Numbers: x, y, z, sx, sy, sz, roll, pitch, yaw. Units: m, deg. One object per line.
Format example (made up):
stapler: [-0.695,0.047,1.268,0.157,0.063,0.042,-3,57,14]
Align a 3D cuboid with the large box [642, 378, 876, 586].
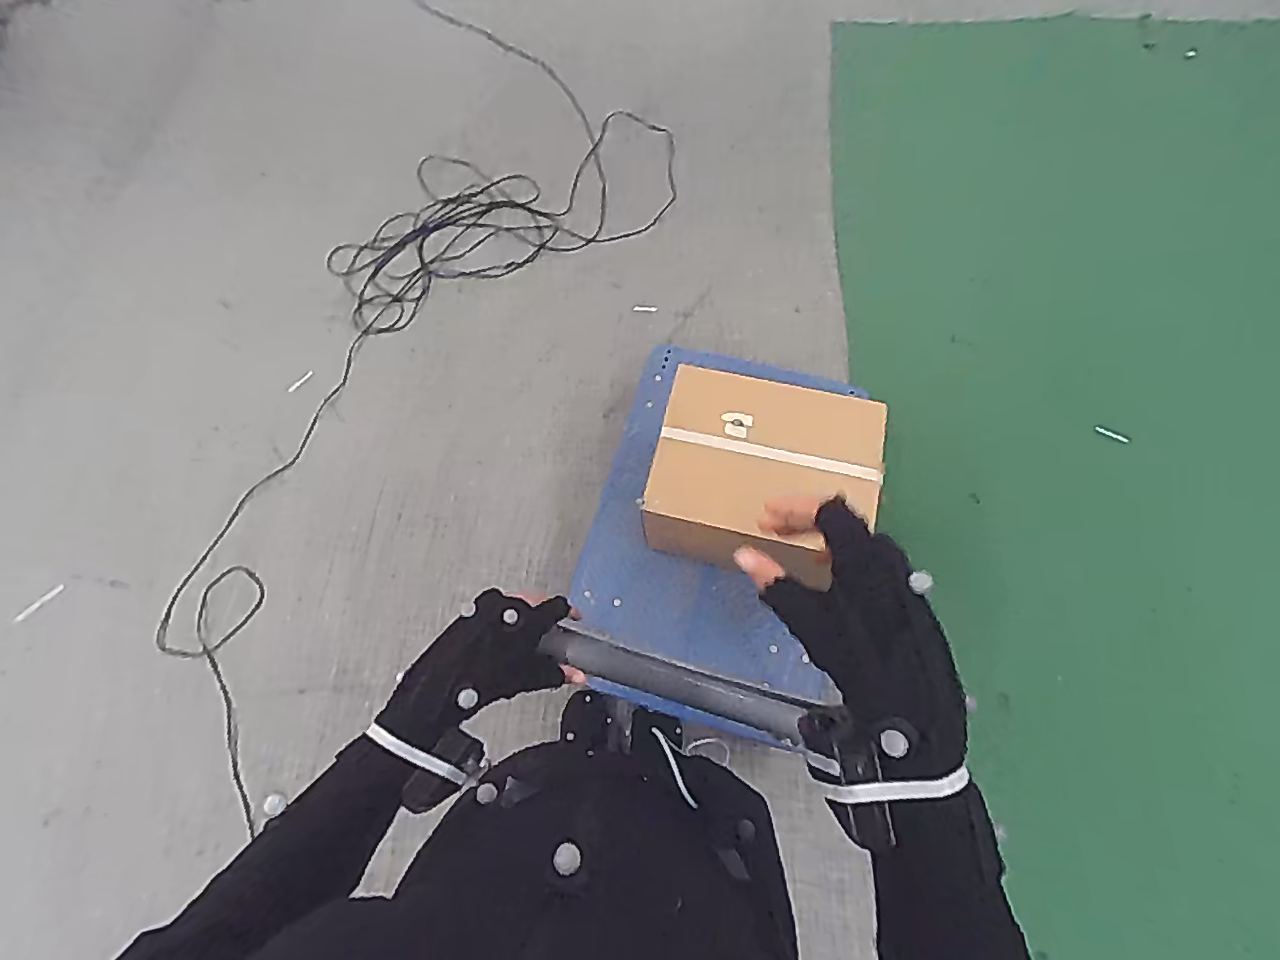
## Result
large box: [0.241,0.018,1.150,0.408,0.320,0.320,11,70,9]
